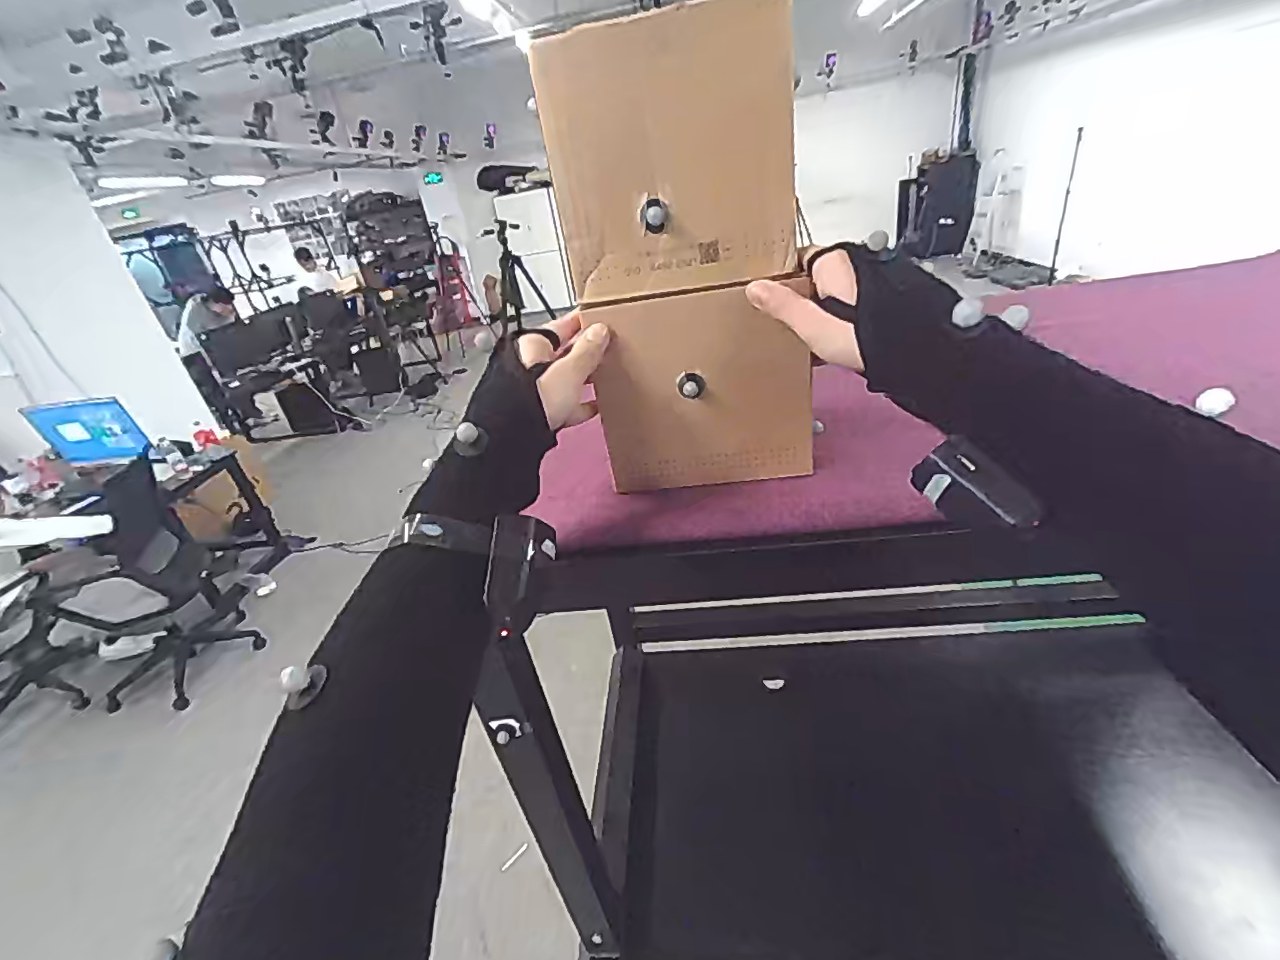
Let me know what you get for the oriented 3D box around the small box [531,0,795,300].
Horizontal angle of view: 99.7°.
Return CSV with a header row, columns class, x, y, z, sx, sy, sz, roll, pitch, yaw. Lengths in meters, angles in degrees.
class,x,y,z,sx,sy,sz,roll,pitch,yaw
small box,0.029,-0.251,0.439,0.168,0.176,0.179,-6,28,9
